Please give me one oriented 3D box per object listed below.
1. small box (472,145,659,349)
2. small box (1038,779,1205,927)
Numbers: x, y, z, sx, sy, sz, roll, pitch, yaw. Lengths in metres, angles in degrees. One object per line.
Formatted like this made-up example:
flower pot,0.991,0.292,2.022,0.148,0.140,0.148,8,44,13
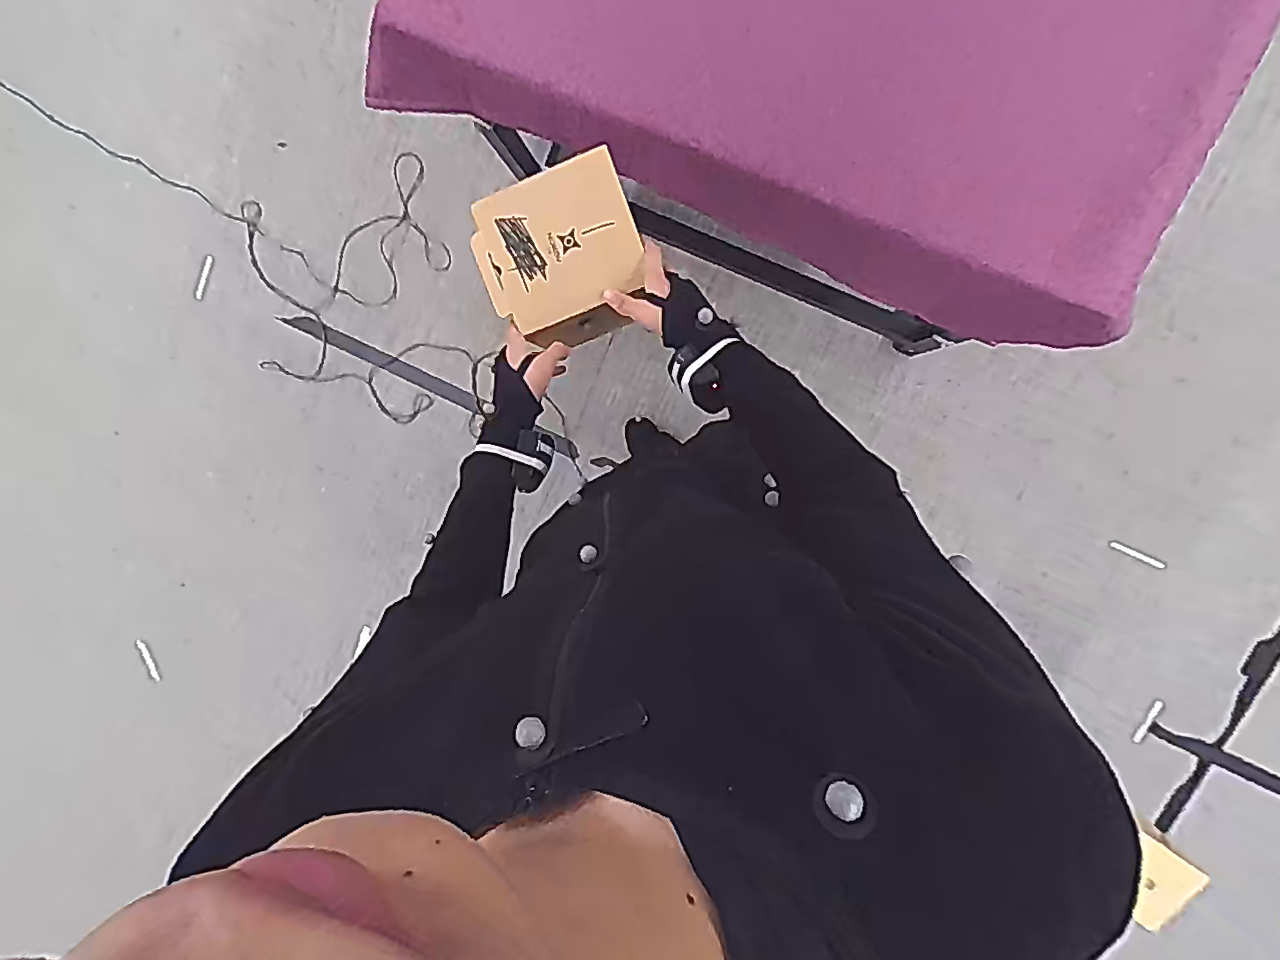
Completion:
small box,-0.084,-0.285,0.707,0.179,0.176,0.168,-20,94,6
small box,1.049,0.811,1.196,0.179,0.176,0.168,35,99,1
